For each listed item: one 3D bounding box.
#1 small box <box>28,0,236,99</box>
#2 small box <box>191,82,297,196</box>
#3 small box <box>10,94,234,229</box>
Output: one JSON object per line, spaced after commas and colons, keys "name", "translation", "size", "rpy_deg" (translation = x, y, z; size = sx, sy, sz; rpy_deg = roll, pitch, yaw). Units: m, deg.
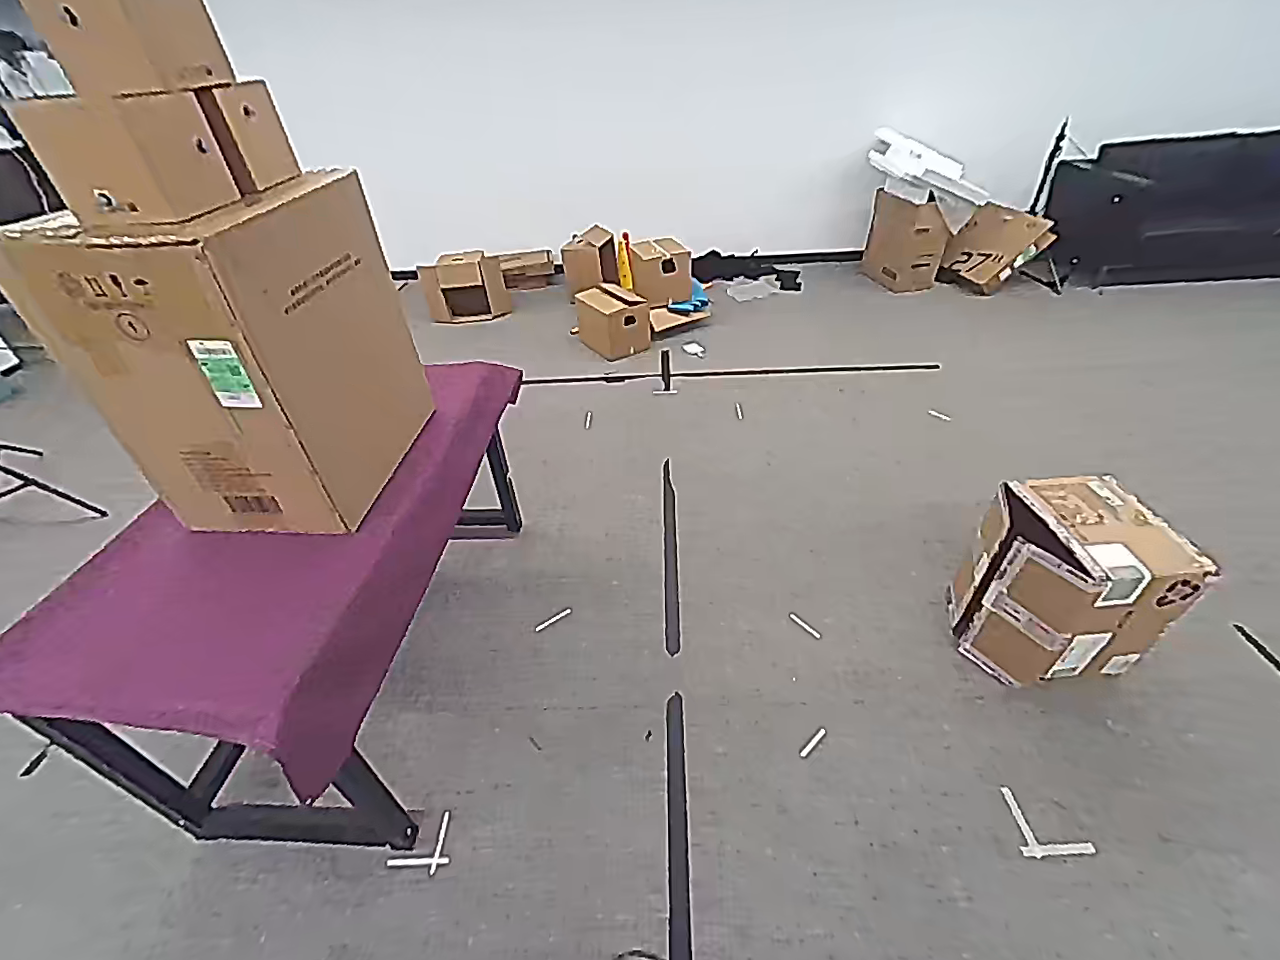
{"name": "small box", "translation": [-0.829, -0.732, 0.885], "size": [0.179, 0.176, 0.168], "rpy_deg": [3, 41, 10]}
{"name": "small box", "translation": [-0.815, -0.662, 1.056], "size": [0.168, 0.176, 0.179], "rpy_deg": [-2, 39, 2]}
{"name": "small box", "translation": [-0.816, -0.520, 0.883], "size": [0.168, 0.176, 0.179], "rpy_deg": [-3, 39, 2]}
